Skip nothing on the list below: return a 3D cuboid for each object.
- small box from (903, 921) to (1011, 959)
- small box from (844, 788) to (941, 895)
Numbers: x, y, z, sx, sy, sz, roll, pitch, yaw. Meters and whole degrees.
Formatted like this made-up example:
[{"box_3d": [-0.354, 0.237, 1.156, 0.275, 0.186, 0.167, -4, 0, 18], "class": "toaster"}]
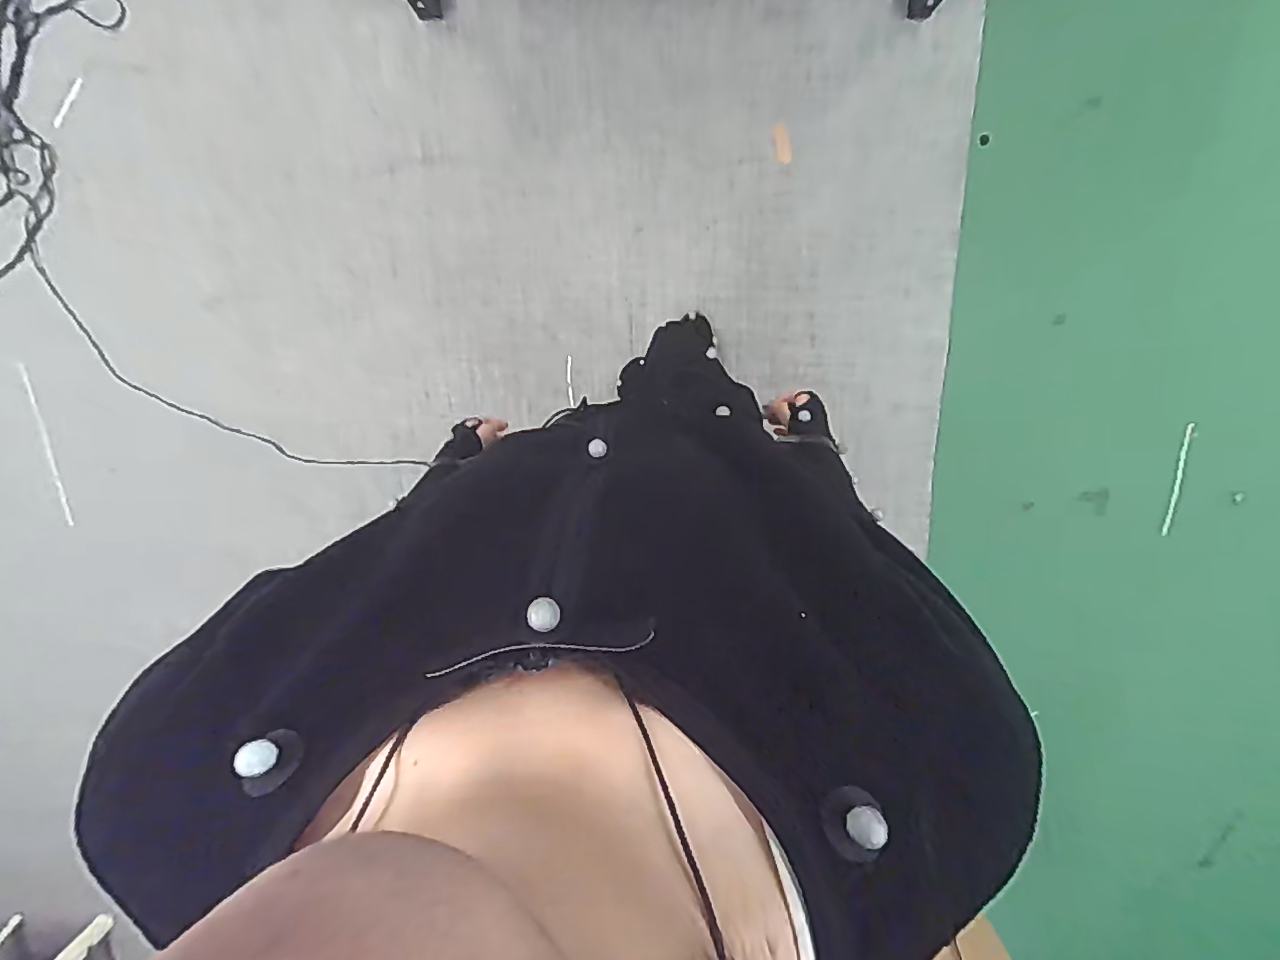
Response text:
[{"box_3d": [0.594, 0.947, 0.972, 0.179, 0.176, 0.168, -14, 102, 6], "class": "small box"}, {"box_3d": [0.605, 0.869, 1.290, 0.168, 0.176, 0.179, -14, 102, 5], "class": "small box"}]
